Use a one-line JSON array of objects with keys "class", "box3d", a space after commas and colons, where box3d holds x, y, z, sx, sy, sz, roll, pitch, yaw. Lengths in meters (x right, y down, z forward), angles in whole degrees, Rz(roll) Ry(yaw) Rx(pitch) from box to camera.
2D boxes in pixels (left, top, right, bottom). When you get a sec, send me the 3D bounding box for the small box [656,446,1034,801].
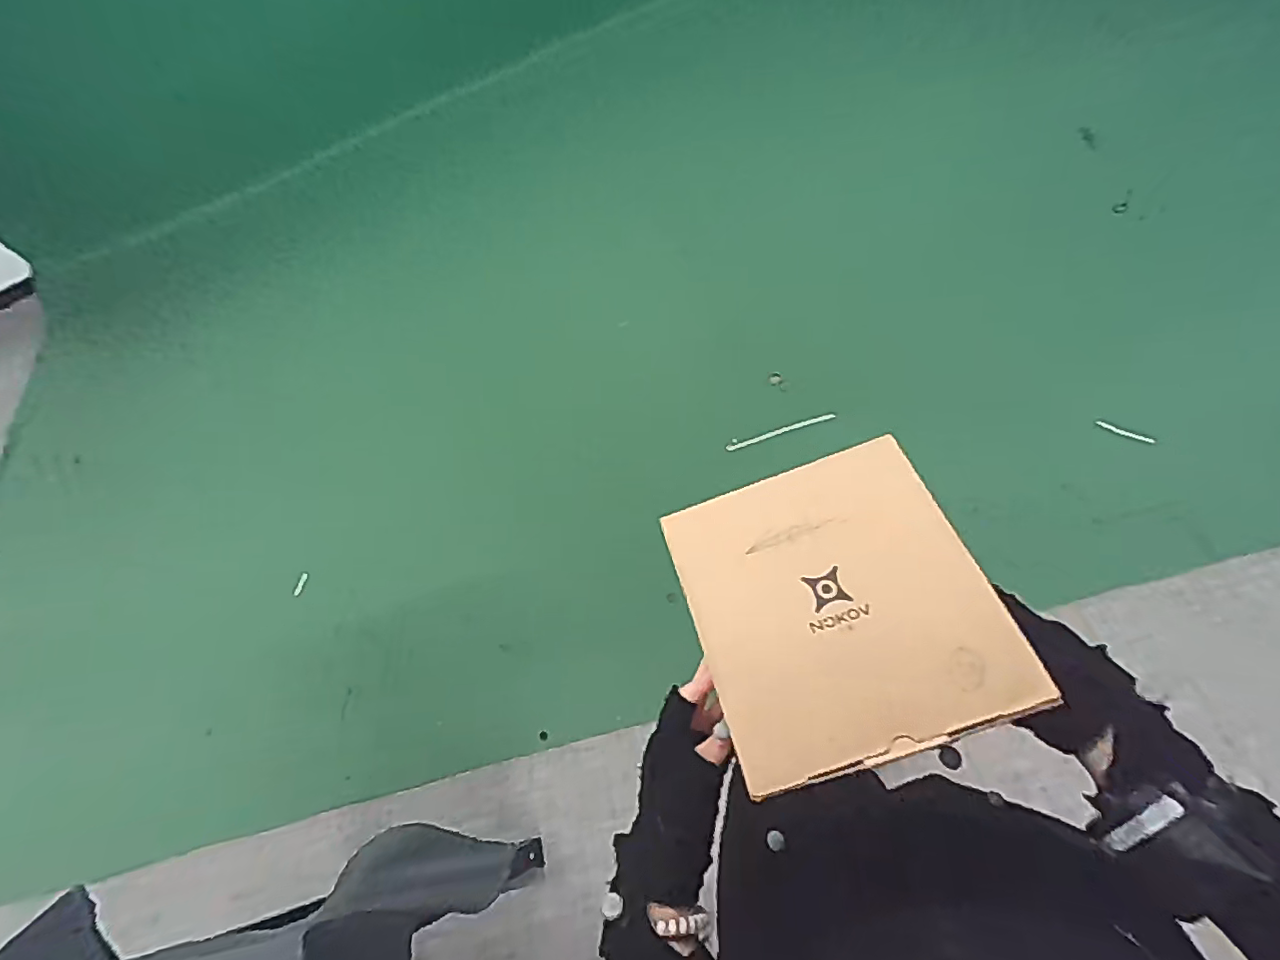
[{"class": "small box", "box3d": [0.128, 0.110, 0.395, 0.168, 0.176, 0.179, -20, 58, 4]}]
